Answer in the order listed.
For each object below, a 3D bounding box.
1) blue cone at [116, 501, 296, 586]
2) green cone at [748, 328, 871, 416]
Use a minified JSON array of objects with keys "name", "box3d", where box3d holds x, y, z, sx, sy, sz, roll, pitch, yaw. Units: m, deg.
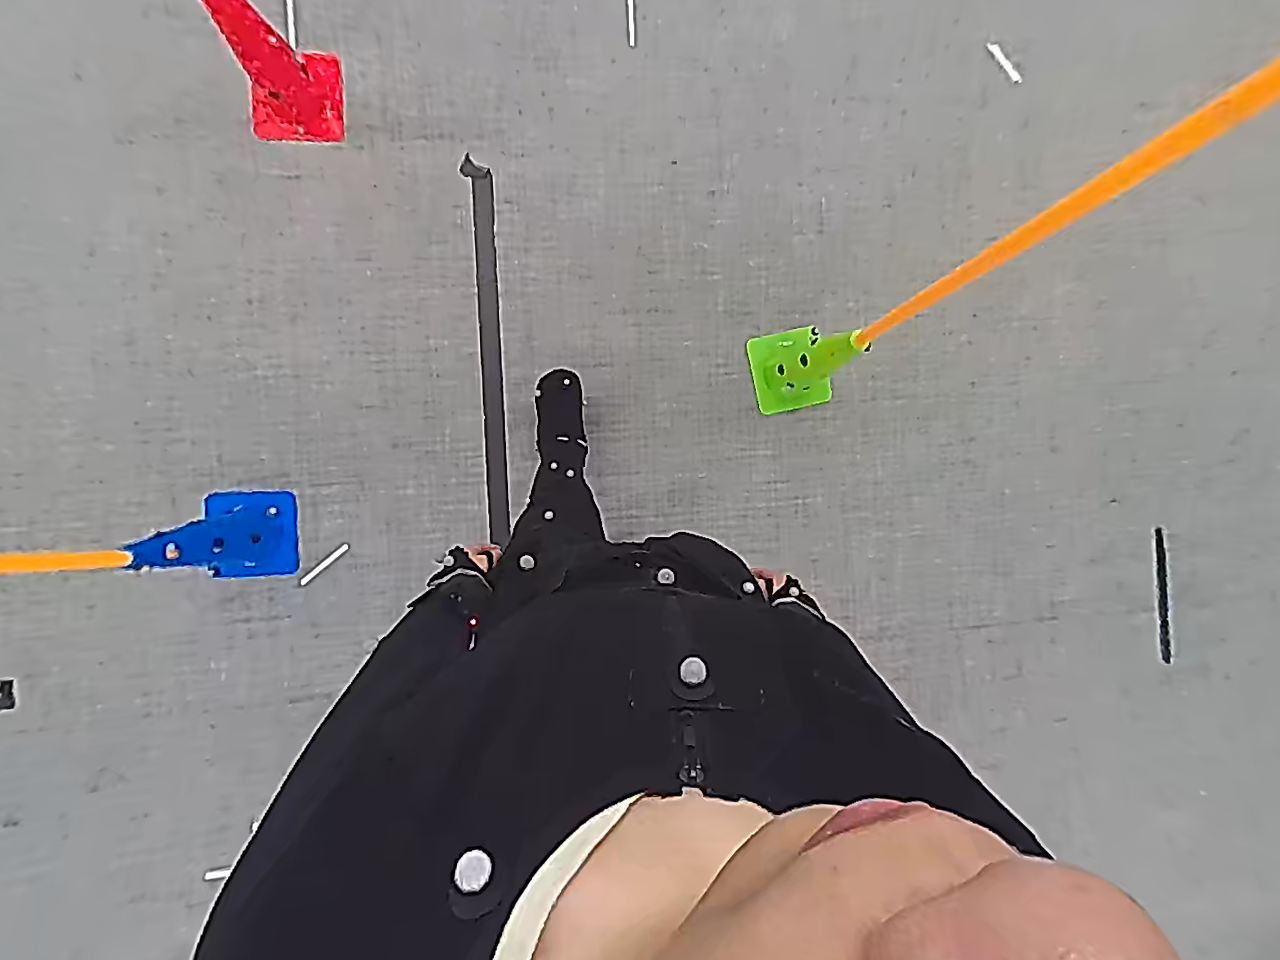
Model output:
[{"name":"blue cone","box3d":[-0.890,0.147,1.097,0.193,0.380,0.192,0,91,-6]},{"name":"green cone","box3d":[0.404,-0.271,1.222,0.200,0.368,0.202,-14,94,-6]}]
